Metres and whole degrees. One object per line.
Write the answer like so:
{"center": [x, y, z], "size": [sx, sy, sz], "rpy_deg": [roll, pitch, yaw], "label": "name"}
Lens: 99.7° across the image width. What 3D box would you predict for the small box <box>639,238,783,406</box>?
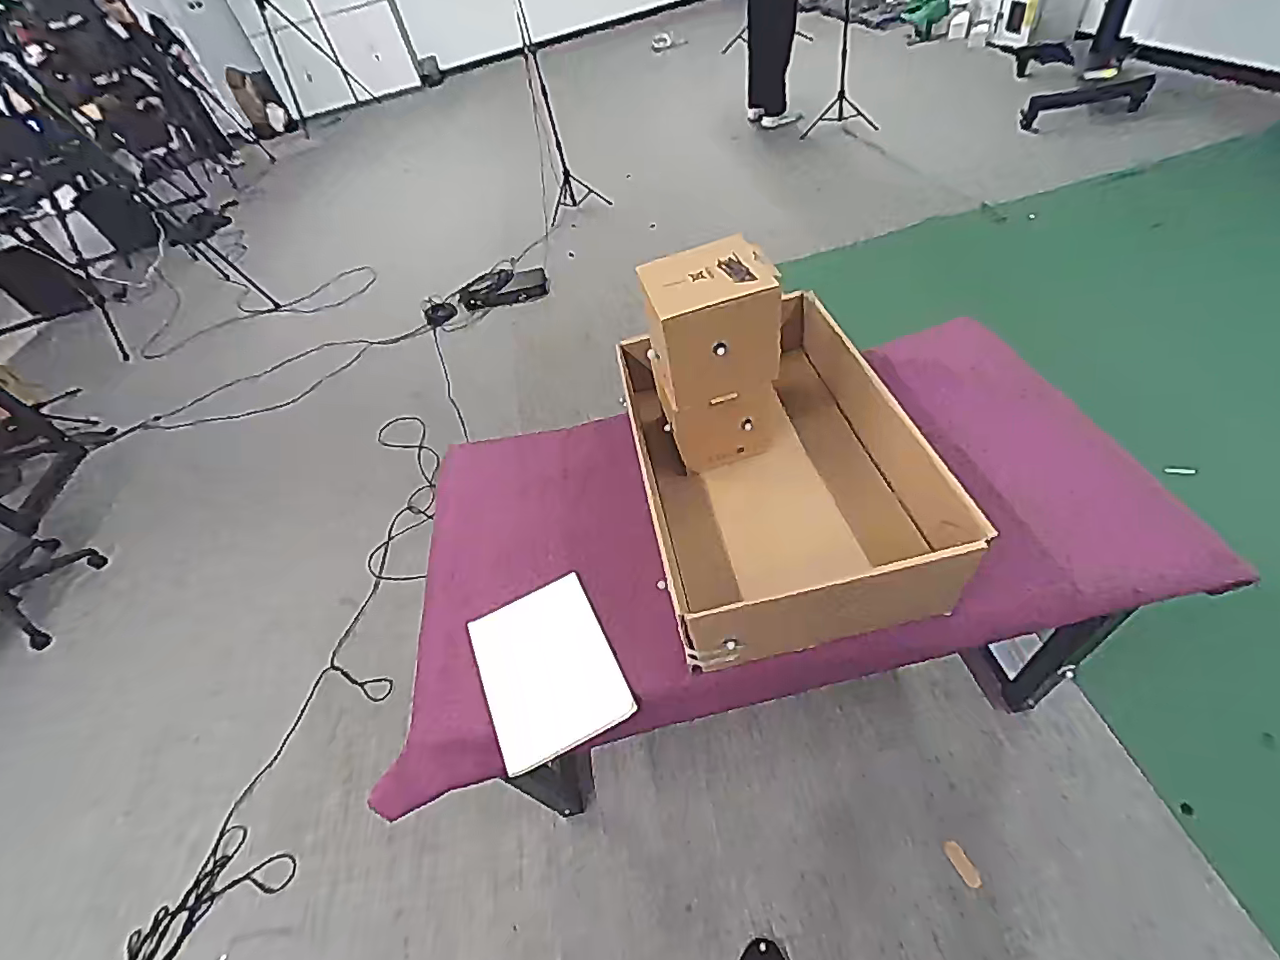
{"center": [0.111, -0.245, 0.851], "size": [0.179, 0.176, 0.168], "rpy_deg": [-17, 48, 0], "label": "small box"}
